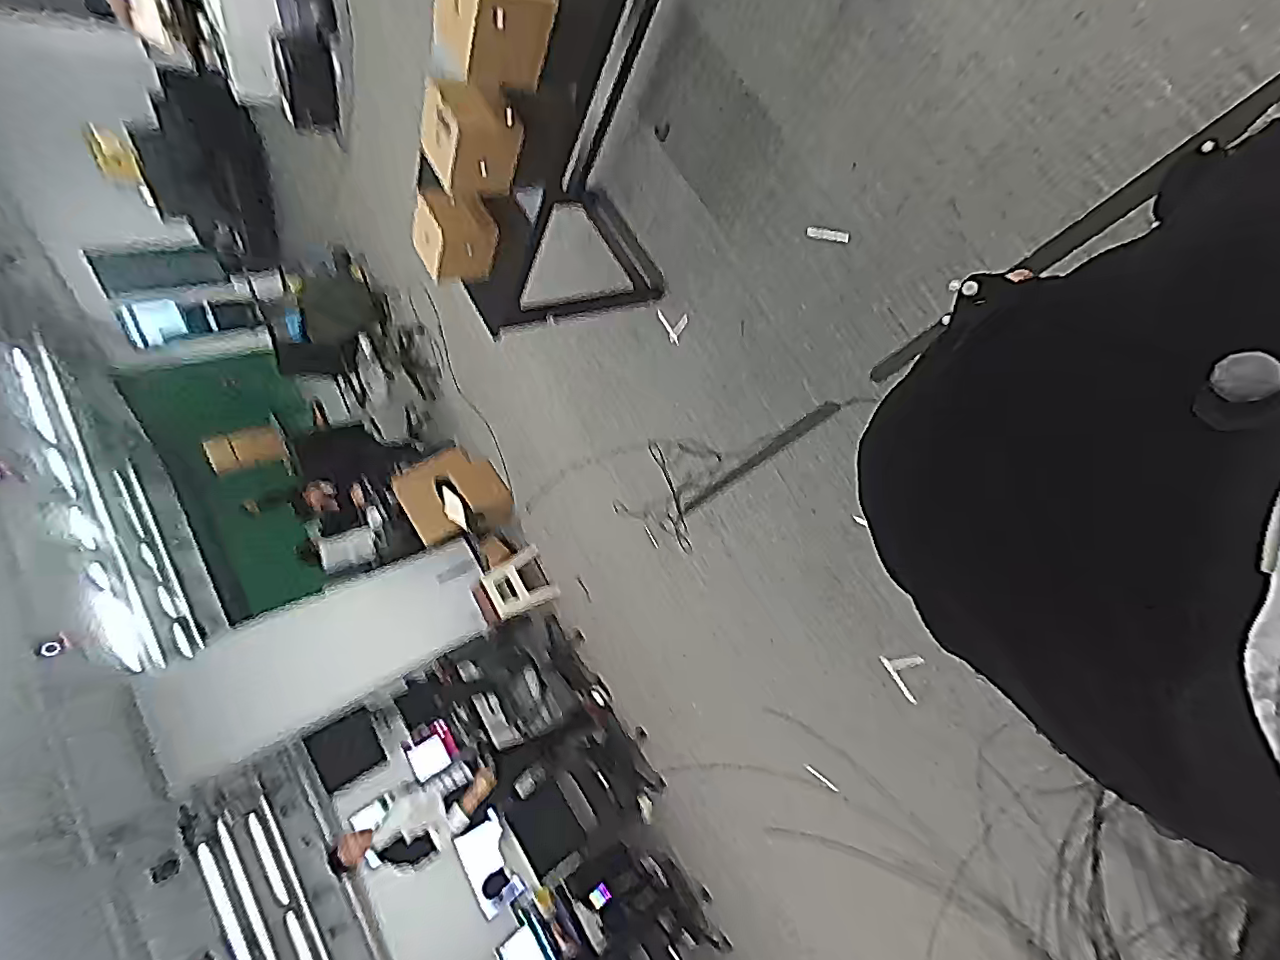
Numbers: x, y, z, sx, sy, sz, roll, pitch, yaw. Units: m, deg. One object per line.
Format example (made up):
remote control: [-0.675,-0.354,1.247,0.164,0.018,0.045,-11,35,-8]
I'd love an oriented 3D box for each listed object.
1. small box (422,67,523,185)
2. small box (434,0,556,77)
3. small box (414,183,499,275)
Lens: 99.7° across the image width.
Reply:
small box: [-0.403,-0.848,1.306,0.168,0.176,0.179,60,146,10]
small box: [-0.289,-0.959,1.087,0.168,0.176,0.179,60,145,11]
small box: [-0.522,-0.717,1.542,0.168,0.176,0.179,59,145,13]
